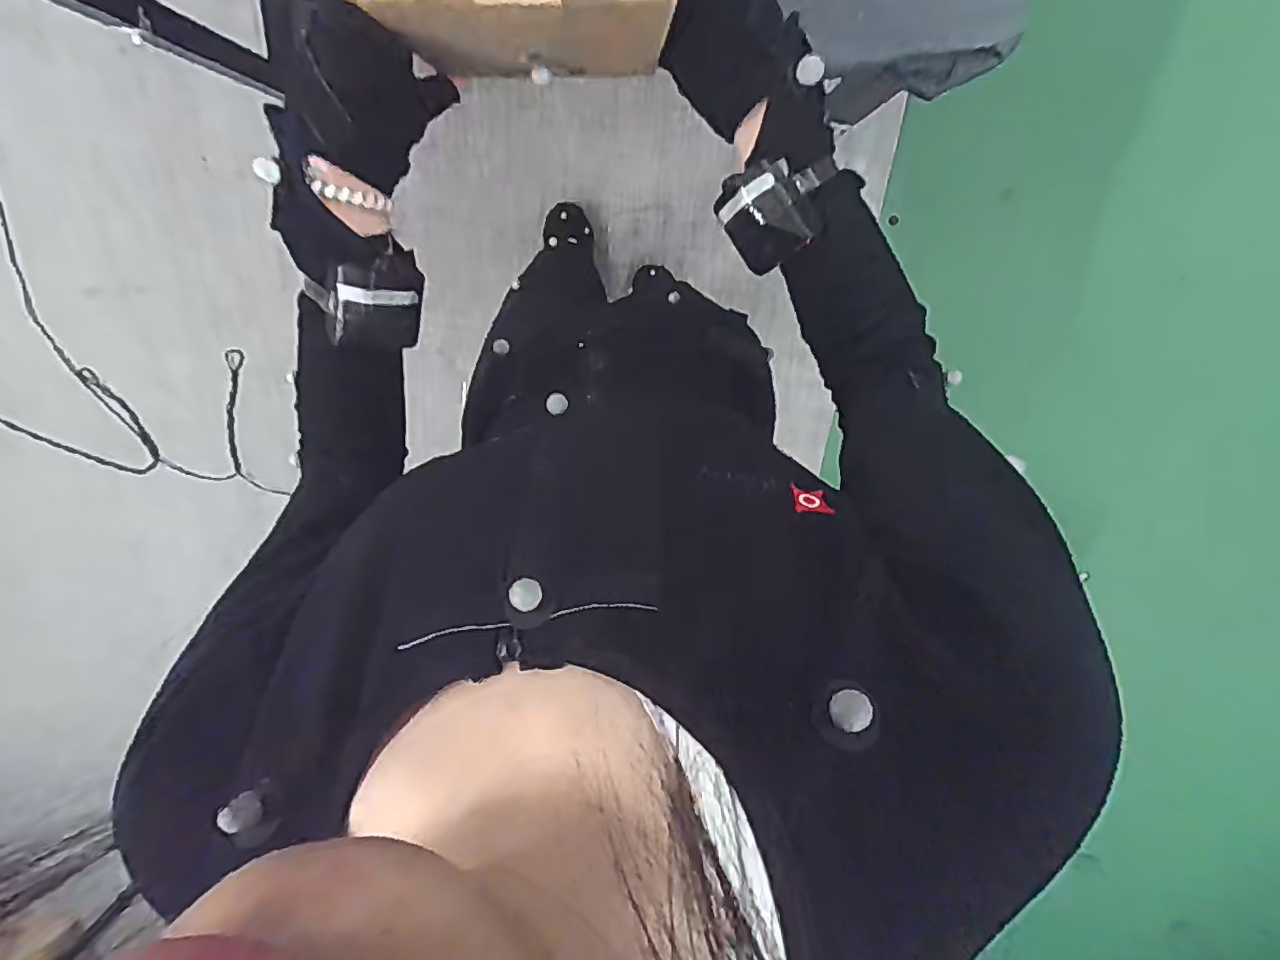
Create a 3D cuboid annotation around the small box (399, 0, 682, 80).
[{"bbox_3d":[-0.064,-0.356,0.307,0.168,0.176,0.179,-2,115,-3],"label":"small box"}]
